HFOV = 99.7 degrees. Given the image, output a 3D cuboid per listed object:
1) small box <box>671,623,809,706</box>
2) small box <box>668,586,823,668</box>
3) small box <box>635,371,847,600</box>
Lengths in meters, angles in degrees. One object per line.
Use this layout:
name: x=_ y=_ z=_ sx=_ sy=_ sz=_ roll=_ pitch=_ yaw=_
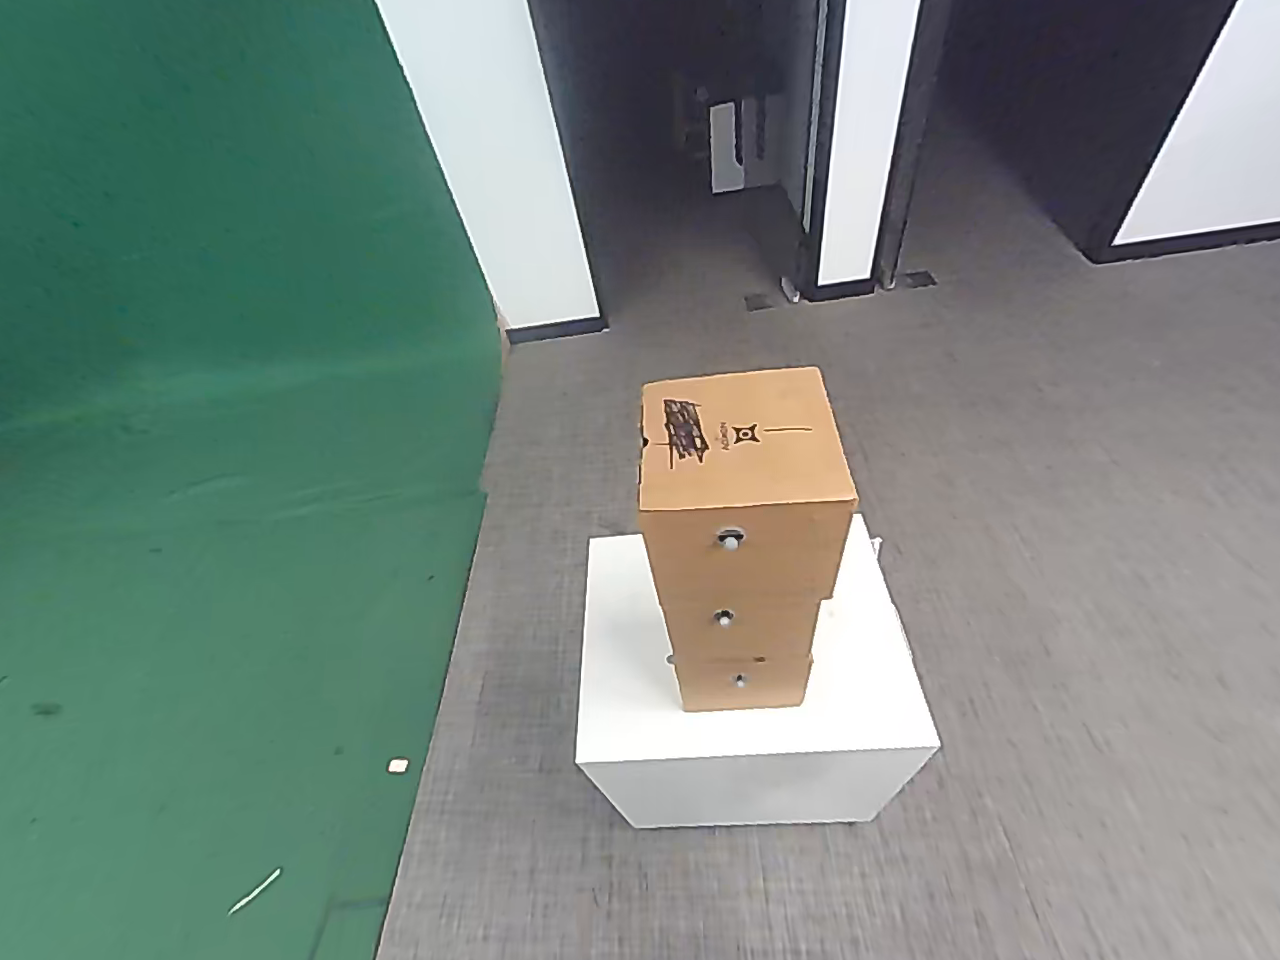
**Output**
small box: x=0.140 y=0.224 z=0.799 sx=0.179 sy=0.176 sz=0.168 roll=-5 pitch=49 yaw=6
small box: x=0.119 y=0.117 z=0.681 sx=0.168 sy=0.176 sz=0.179 roll=-6 pitch=49 yaw=5
small box: x=0.097 y=0.012 z=0.553 sx=0.179 sy=0.176 sz=0.168 roll=-4 pitch=49 yaw=8
